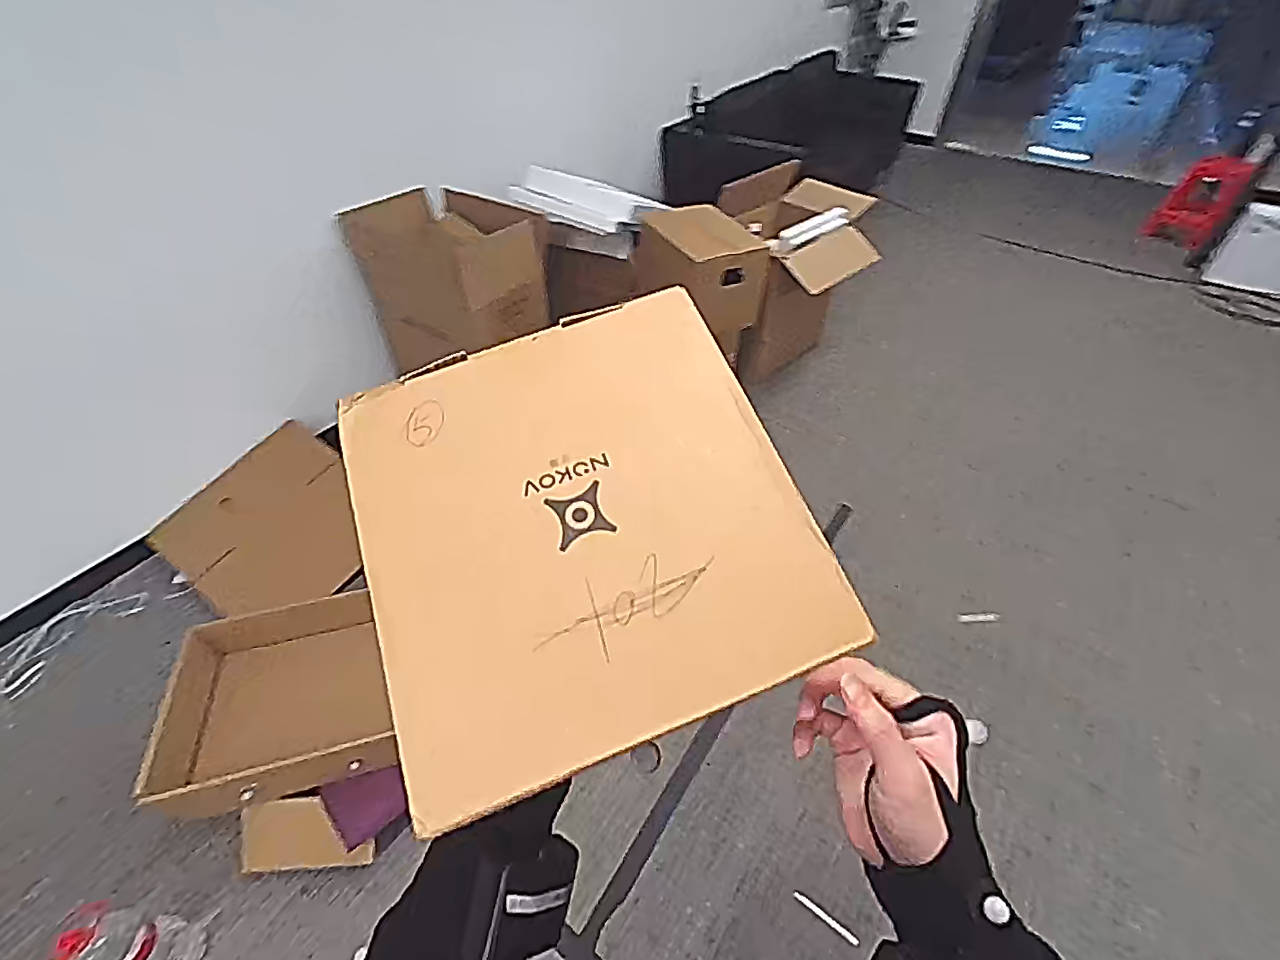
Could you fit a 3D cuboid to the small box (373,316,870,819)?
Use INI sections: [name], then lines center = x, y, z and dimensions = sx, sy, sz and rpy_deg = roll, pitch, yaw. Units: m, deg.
[small box]
center = -0.015, 0.050, 0.298
dimensions = 0.168, 0.176, 0.179
rpy_deg = -20, 67, -6
